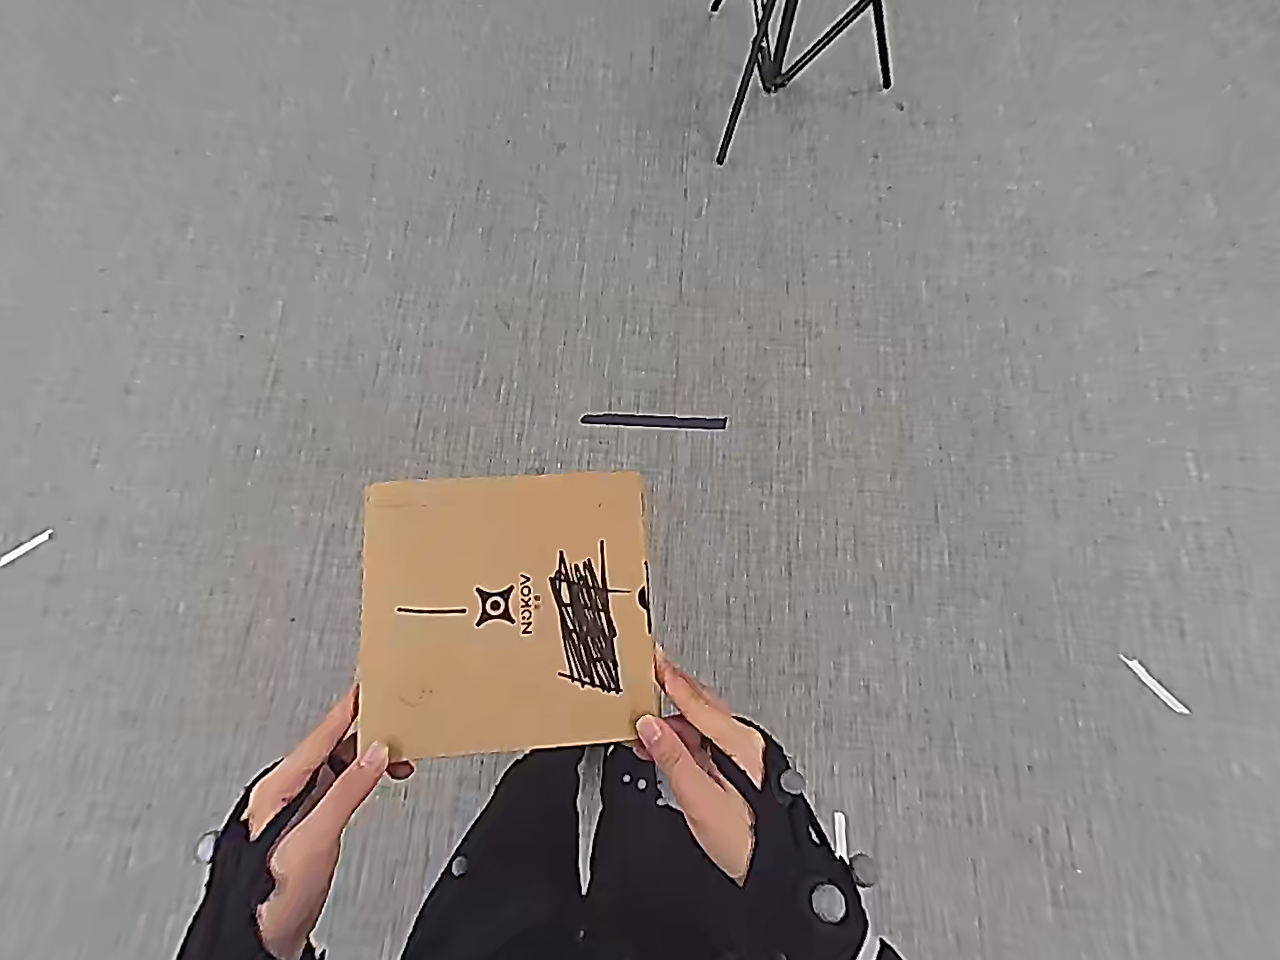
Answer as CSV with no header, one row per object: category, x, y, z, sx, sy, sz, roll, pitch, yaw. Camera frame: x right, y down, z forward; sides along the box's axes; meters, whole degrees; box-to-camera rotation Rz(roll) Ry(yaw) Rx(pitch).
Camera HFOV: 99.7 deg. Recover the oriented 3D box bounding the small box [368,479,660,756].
small box,-0.086,0.095,0.419,0.179,0.176,0.168,-2,79,-6
